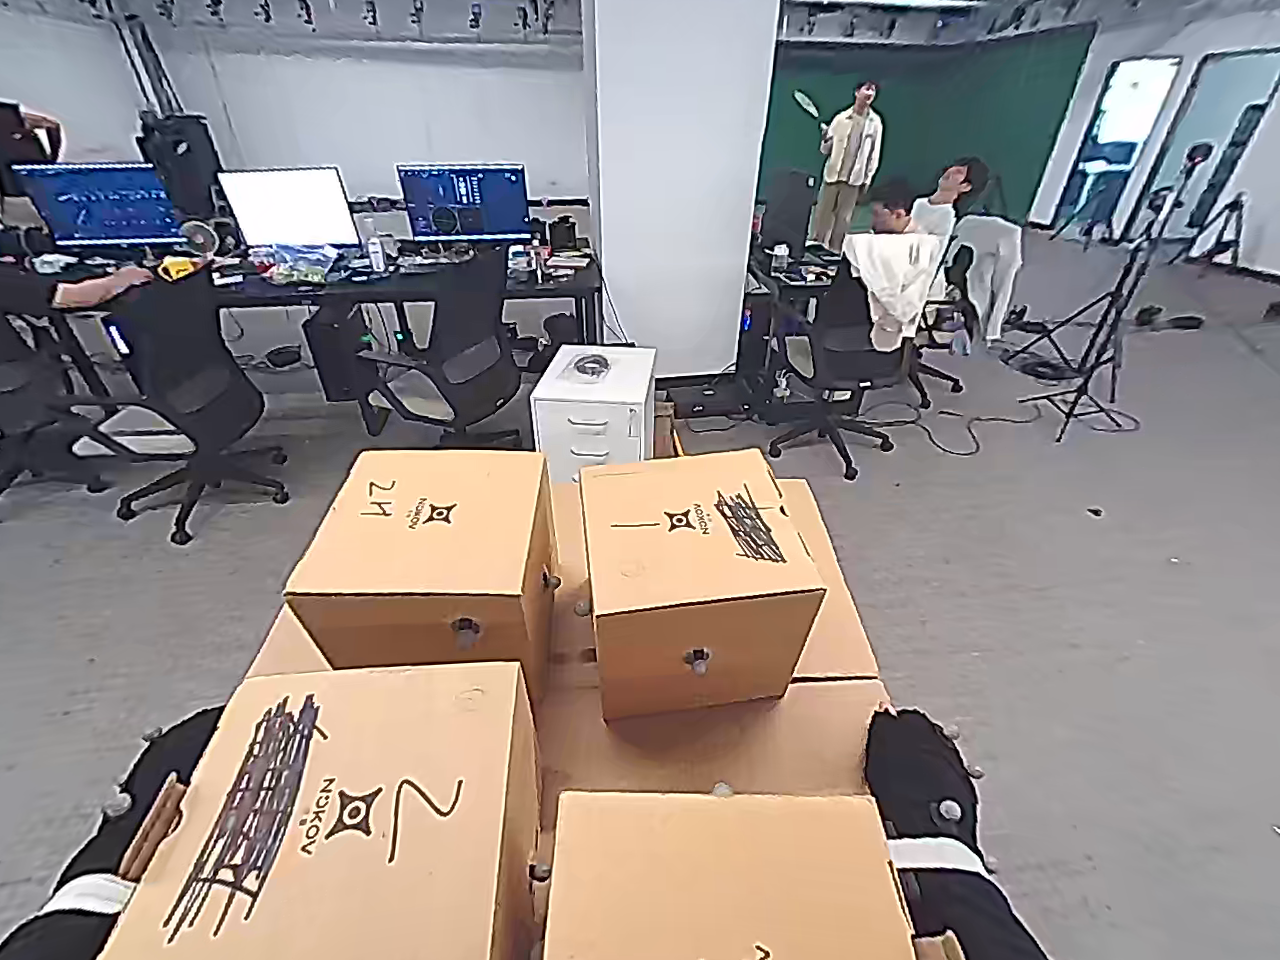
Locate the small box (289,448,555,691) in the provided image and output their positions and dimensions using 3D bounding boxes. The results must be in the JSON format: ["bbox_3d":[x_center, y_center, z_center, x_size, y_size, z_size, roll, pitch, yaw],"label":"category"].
[{"bbox_3d":[-0.180,0.087,0.520,0.179,0.176,0.168,0,42,-1],"label":"small box"}]
